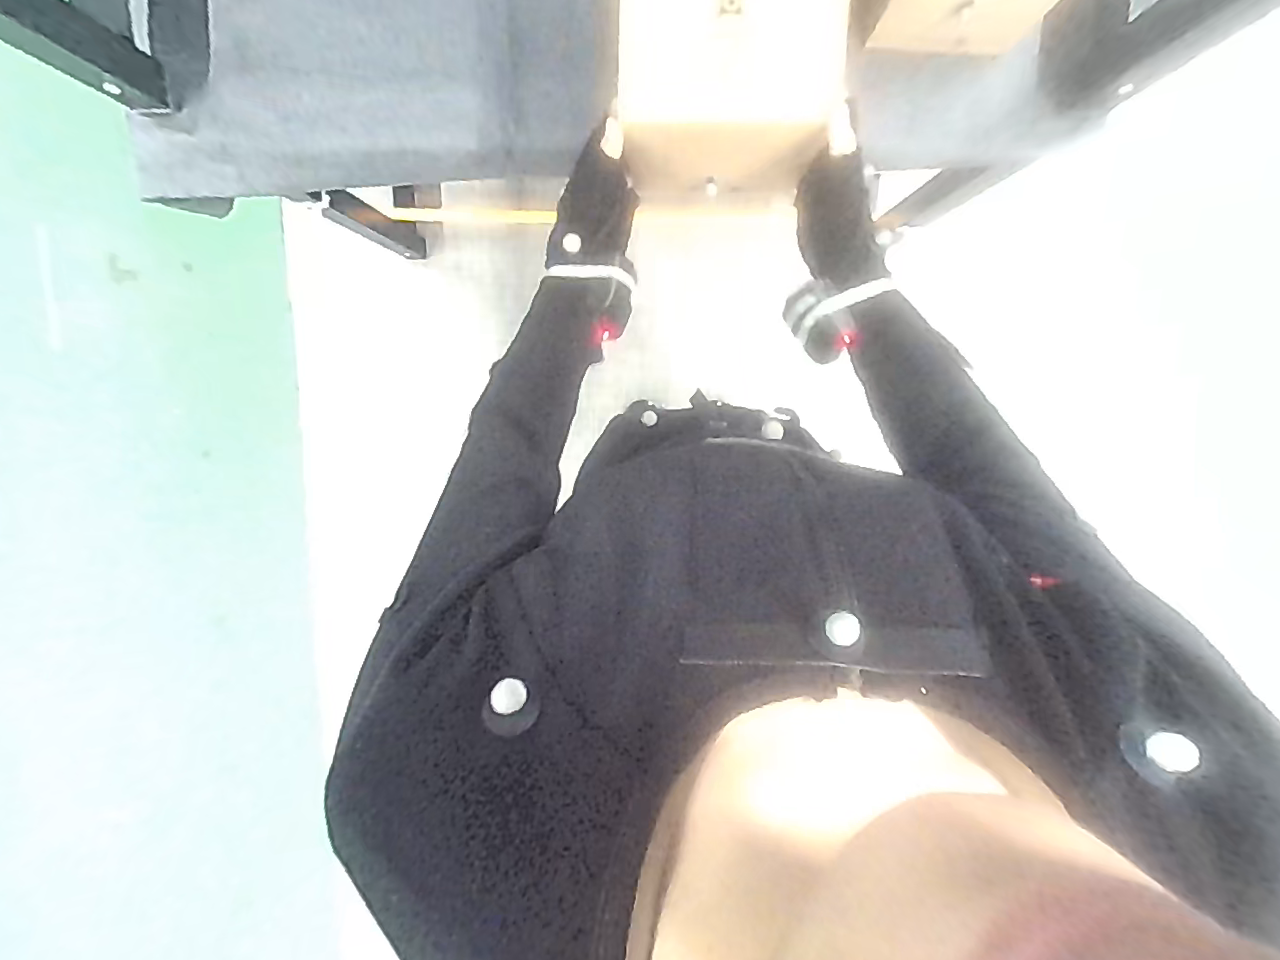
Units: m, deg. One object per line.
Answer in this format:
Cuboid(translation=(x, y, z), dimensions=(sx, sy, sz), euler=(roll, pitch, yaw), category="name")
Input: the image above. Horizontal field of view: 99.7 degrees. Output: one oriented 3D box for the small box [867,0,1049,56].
Cuboid(translation=(0.350, -0.577, 0.551), dimensions=(0.168, 0.176, 0.179), euler=(5, 99, 1), category="small box")
